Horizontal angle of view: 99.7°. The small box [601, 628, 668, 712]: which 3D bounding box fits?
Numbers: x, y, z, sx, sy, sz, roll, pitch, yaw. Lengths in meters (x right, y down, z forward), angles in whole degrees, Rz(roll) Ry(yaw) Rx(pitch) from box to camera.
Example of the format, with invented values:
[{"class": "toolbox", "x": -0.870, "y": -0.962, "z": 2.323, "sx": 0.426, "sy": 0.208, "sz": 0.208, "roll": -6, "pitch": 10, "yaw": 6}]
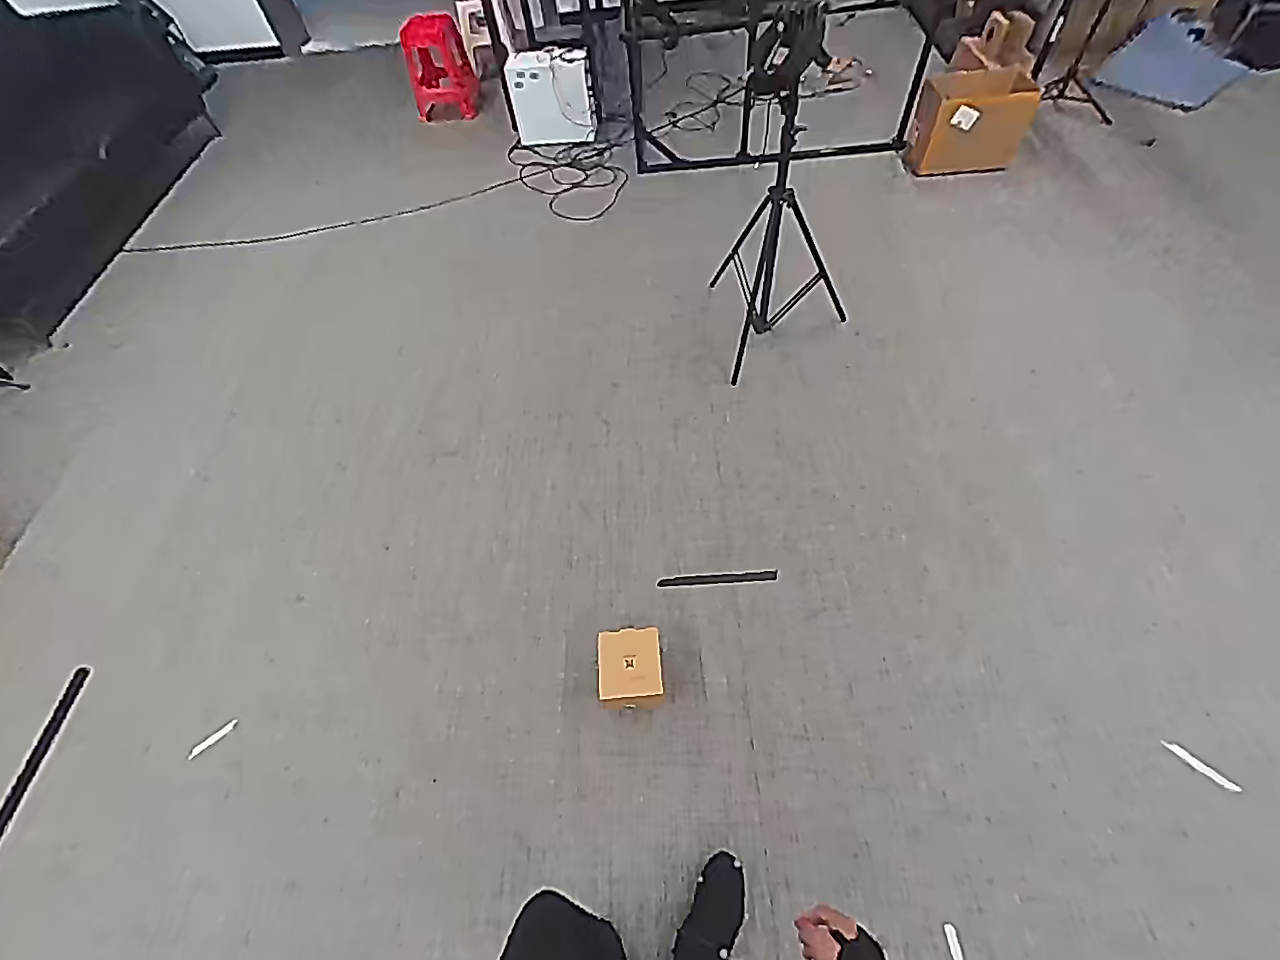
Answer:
[{"class": "small box", "x": -0.014, "y": 0.521, "z": 1.477, "sx": 0.168, "sy": 0.176, "sz": 0.179, "roll": -6, "pitch": 57, "yaw": 3}]
